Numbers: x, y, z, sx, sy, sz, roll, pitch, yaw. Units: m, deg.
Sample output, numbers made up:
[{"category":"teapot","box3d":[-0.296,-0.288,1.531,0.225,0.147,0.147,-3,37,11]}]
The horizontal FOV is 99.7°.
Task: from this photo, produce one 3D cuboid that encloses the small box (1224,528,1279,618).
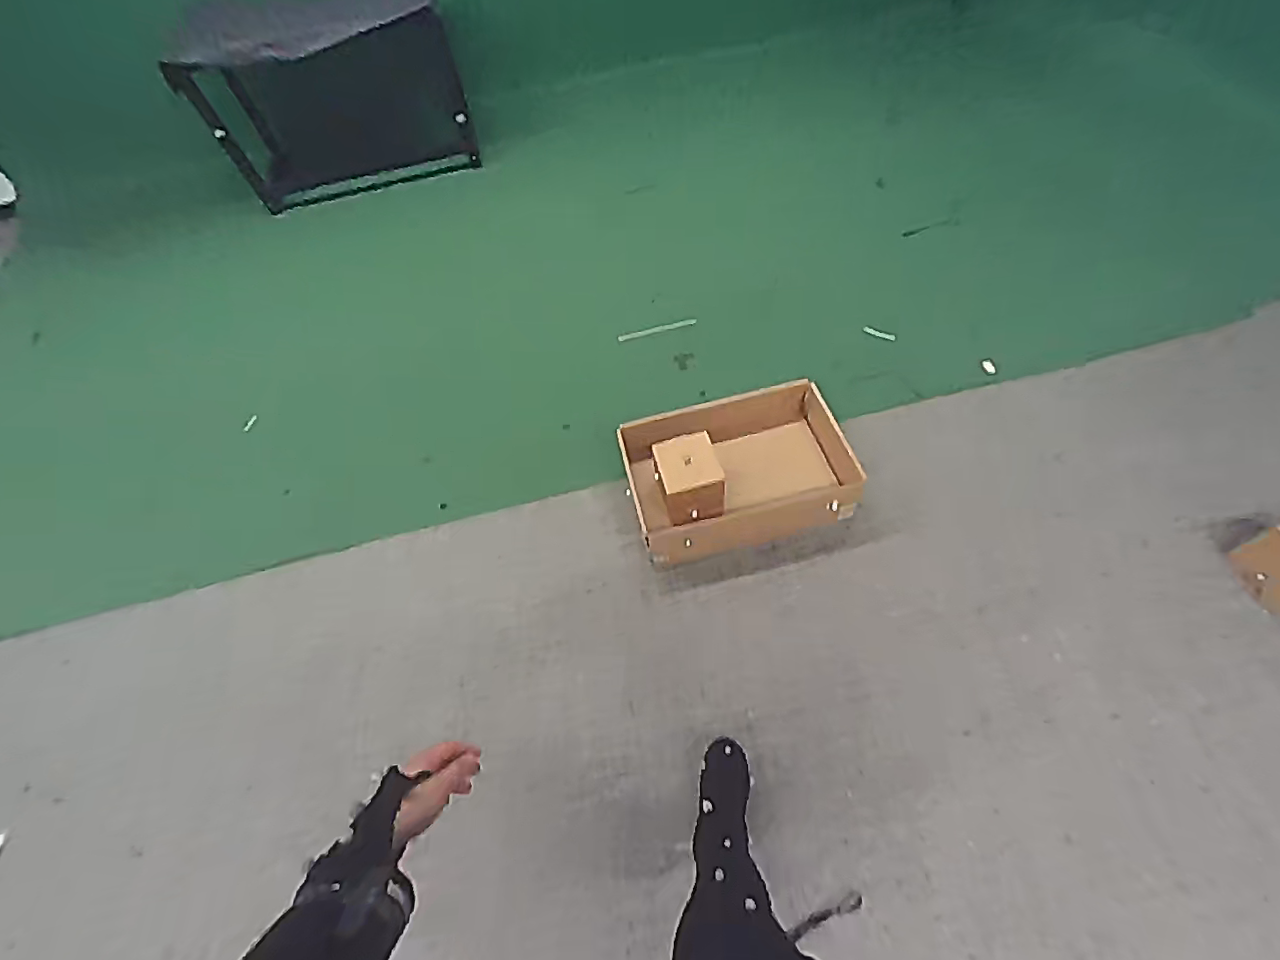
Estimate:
[{"category":"small box","box3d":[1.586,0.214,1.287,0.179,0.176,0.168,-10,55,1]}]
